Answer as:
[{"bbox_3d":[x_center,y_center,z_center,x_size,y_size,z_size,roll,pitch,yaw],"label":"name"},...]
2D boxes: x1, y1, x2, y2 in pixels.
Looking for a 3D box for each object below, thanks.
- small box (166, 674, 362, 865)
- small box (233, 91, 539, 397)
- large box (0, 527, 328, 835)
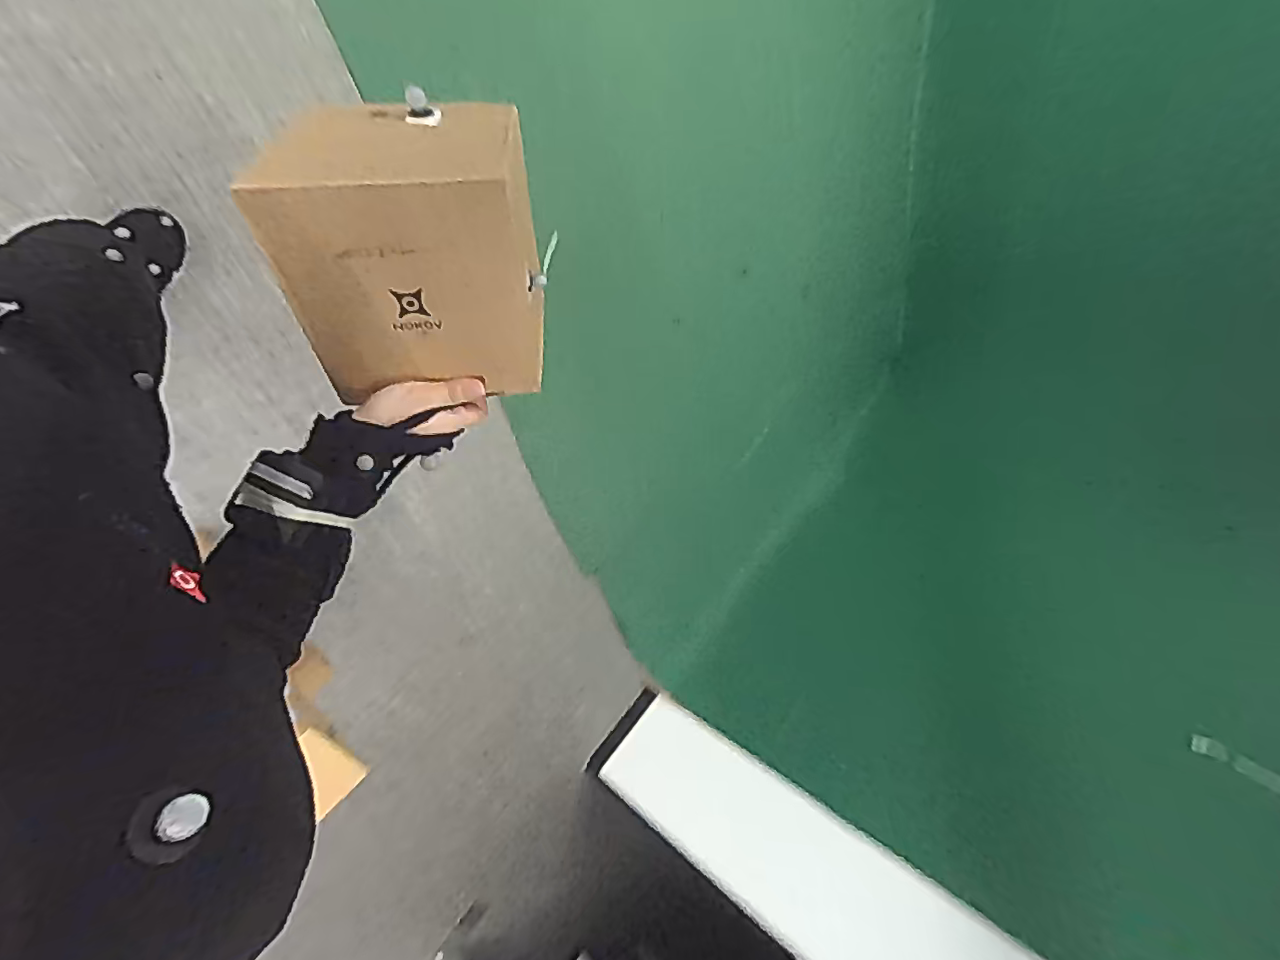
[{"bbox_3d":[-0.589,0.444,0.852,0.179,0.176,0.168,-42,136,-29],"label":"small box"},{"bbox_3d":[-0.175,-0.193,0.446,0.168,0.176,0.179,-6,138,-5],"label":"small box"},{"bbox_3d":[-0.935,0.369,1.067,0.408,0.320,0.320,-43,135,-27],"label":"large box"}]
